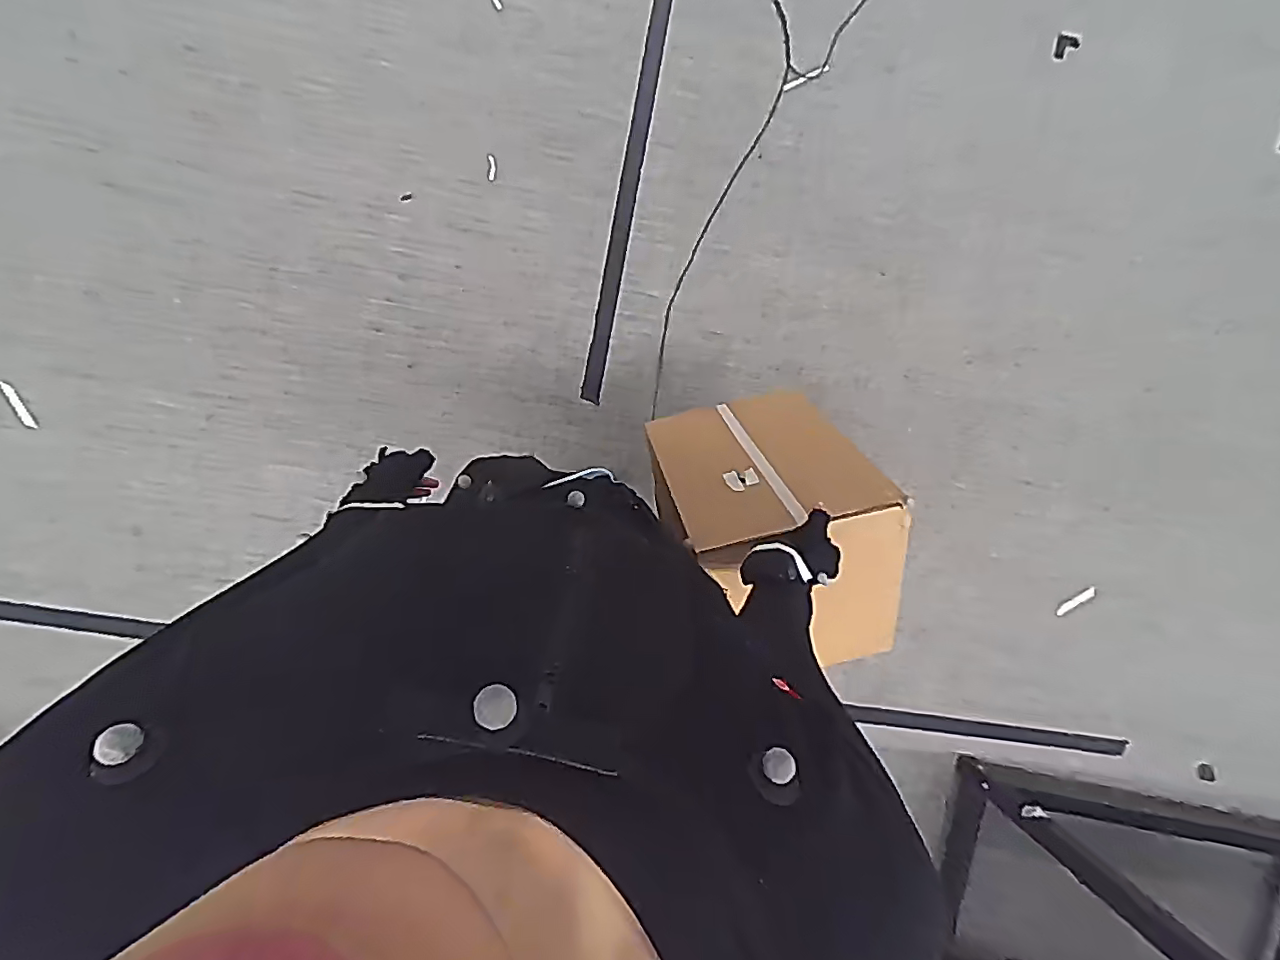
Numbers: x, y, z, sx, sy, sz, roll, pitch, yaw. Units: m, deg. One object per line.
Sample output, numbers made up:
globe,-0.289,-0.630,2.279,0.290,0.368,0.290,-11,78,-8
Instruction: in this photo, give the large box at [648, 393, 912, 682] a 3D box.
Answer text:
large box,0.221,0.084,0.994,0.320,0.408,0.320,-14,124,-3
